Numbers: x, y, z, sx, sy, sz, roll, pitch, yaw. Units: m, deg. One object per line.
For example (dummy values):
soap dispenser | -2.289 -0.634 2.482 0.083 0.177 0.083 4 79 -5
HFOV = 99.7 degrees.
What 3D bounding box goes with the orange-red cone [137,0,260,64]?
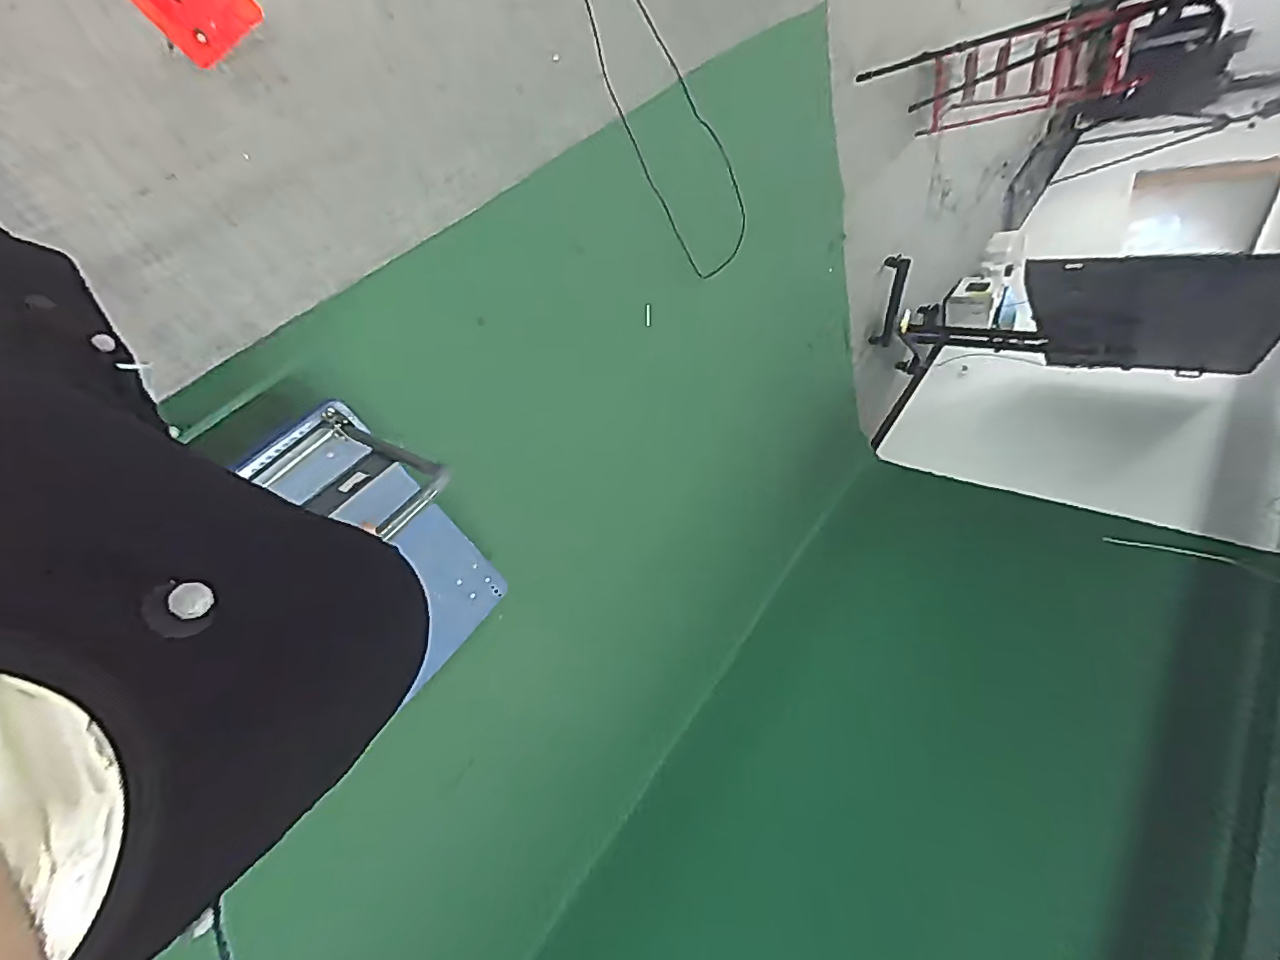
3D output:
orange-red cone | -0.795 -0.953 0.987 0.199 0.360 0.198 -59 139 -15
